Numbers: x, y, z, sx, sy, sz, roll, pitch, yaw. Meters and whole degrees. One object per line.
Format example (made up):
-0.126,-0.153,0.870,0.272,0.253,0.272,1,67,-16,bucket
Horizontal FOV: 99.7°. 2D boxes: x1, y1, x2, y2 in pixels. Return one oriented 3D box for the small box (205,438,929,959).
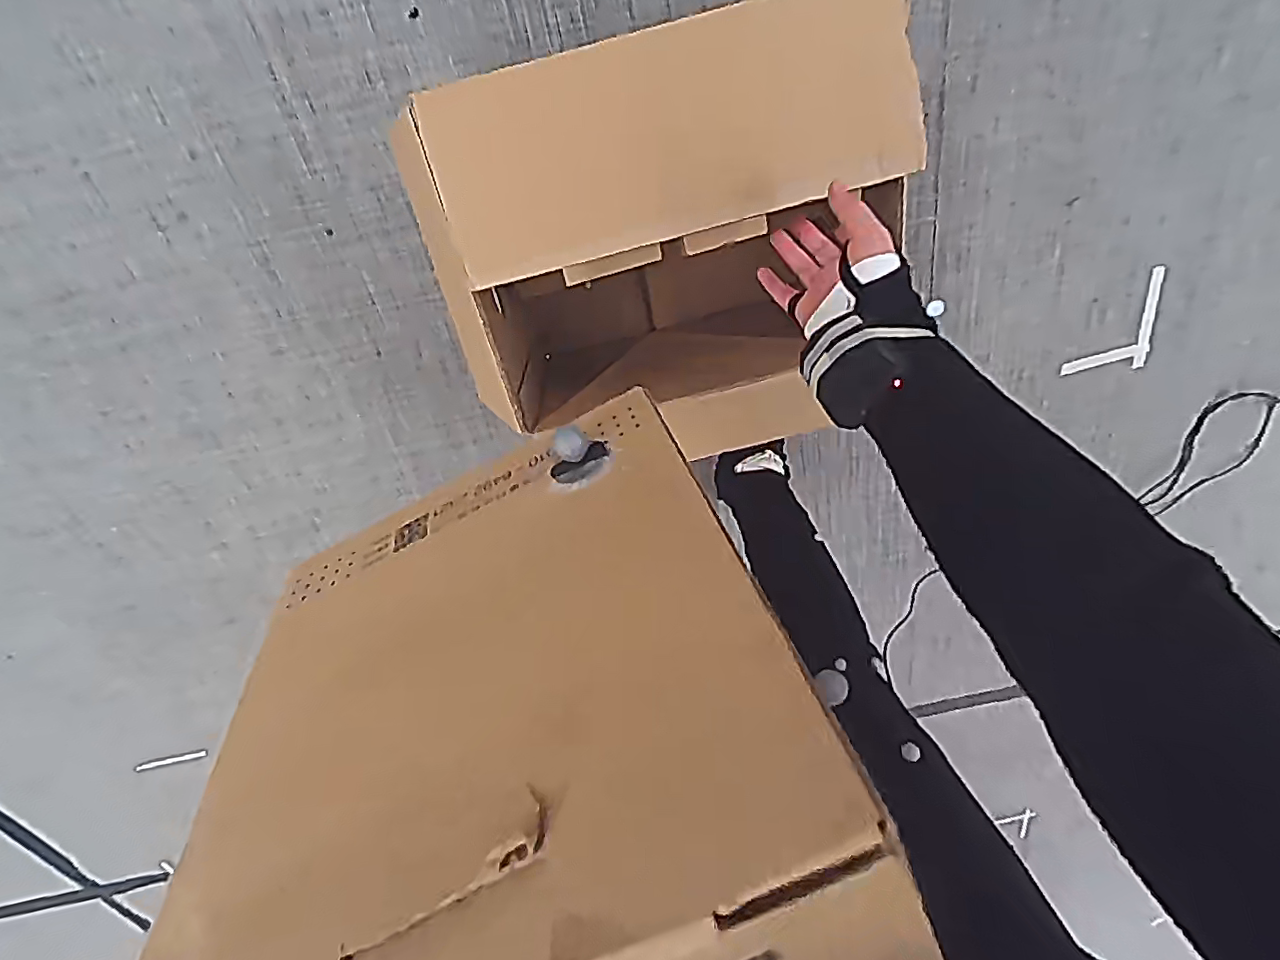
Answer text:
-0.020,0.106,0.212,0.168,0.176,0.179,-27,128,3,small box
